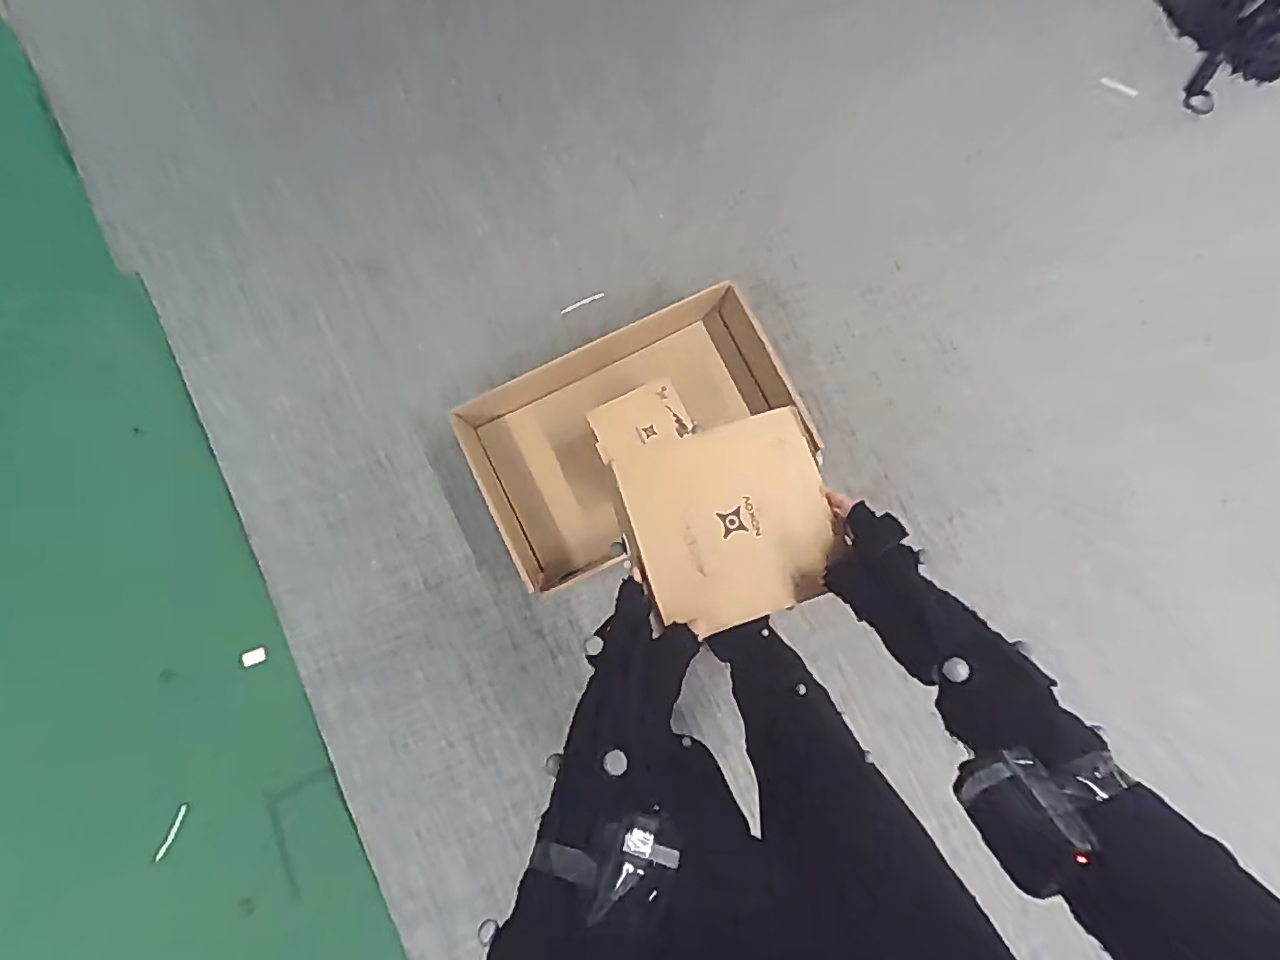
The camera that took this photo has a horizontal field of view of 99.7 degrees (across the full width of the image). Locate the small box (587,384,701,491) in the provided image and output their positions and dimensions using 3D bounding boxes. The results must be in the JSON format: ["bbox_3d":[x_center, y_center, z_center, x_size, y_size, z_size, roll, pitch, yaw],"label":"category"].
[{"bbox_3d":[0.014,-0.062,1.087,0.179,0.176,0.168,-28,83,-4],"label":"small box"}]

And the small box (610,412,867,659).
[{"bbox_3d":[0.080,0.055,0.538,0.179,0.176,0.168,-21,83,-9],"label":"small box"}]
